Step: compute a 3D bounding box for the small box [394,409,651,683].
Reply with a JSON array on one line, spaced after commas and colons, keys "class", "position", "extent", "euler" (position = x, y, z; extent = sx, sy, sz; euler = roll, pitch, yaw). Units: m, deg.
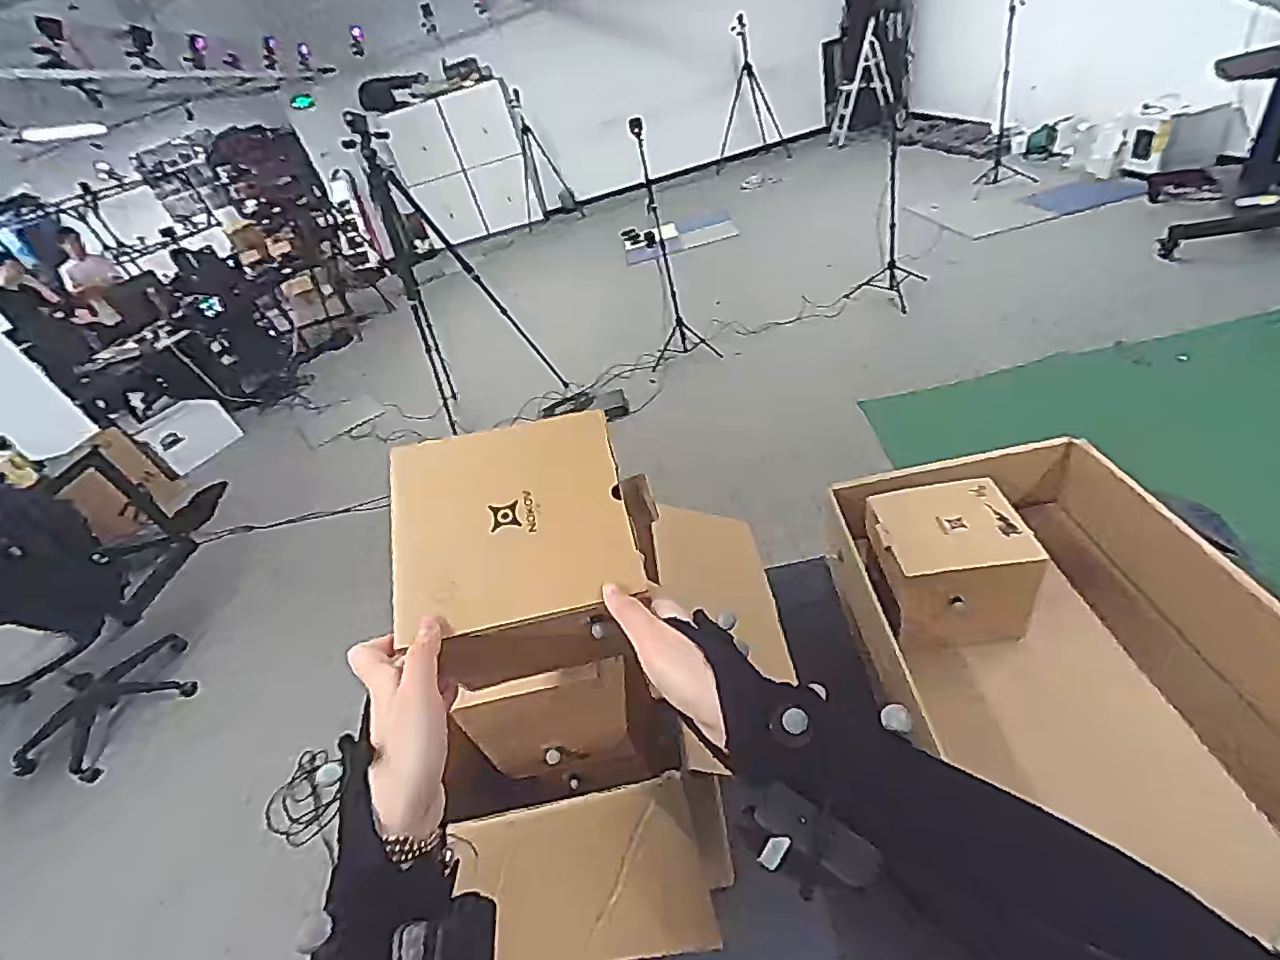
[{"class": "small box", "position": [-0.093, 0.066, 0.470], "extent": [0.179, 0.176, 0.168], "euler": [-12, 62, -7]}]
